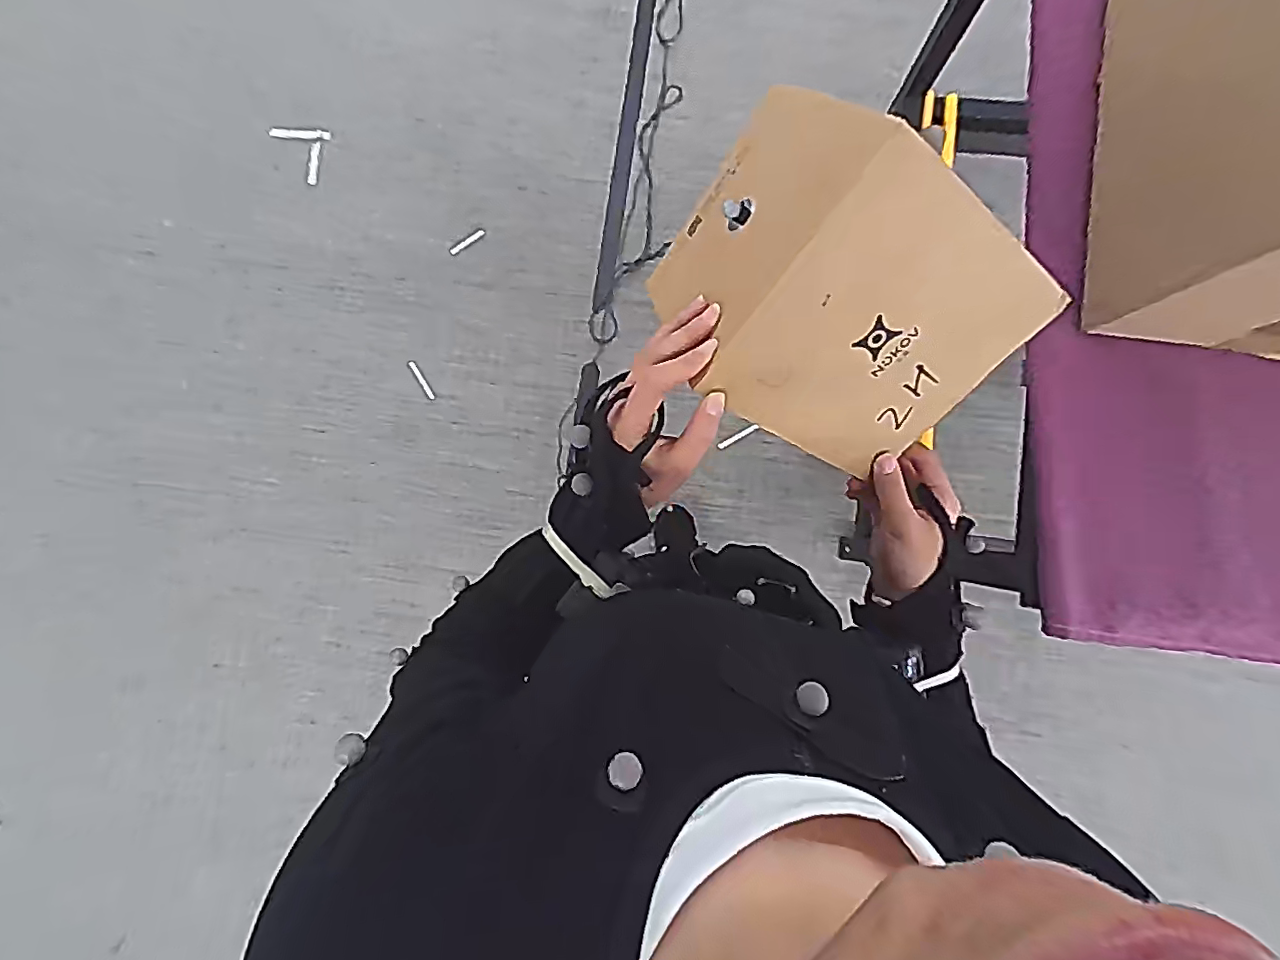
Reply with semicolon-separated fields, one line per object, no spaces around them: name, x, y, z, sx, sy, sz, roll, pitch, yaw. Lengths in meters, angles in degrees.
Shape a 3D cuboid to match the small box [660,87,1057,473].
small box;0.133;-0.141;0.388;0.179;0.176;0.168;25;127;-29
